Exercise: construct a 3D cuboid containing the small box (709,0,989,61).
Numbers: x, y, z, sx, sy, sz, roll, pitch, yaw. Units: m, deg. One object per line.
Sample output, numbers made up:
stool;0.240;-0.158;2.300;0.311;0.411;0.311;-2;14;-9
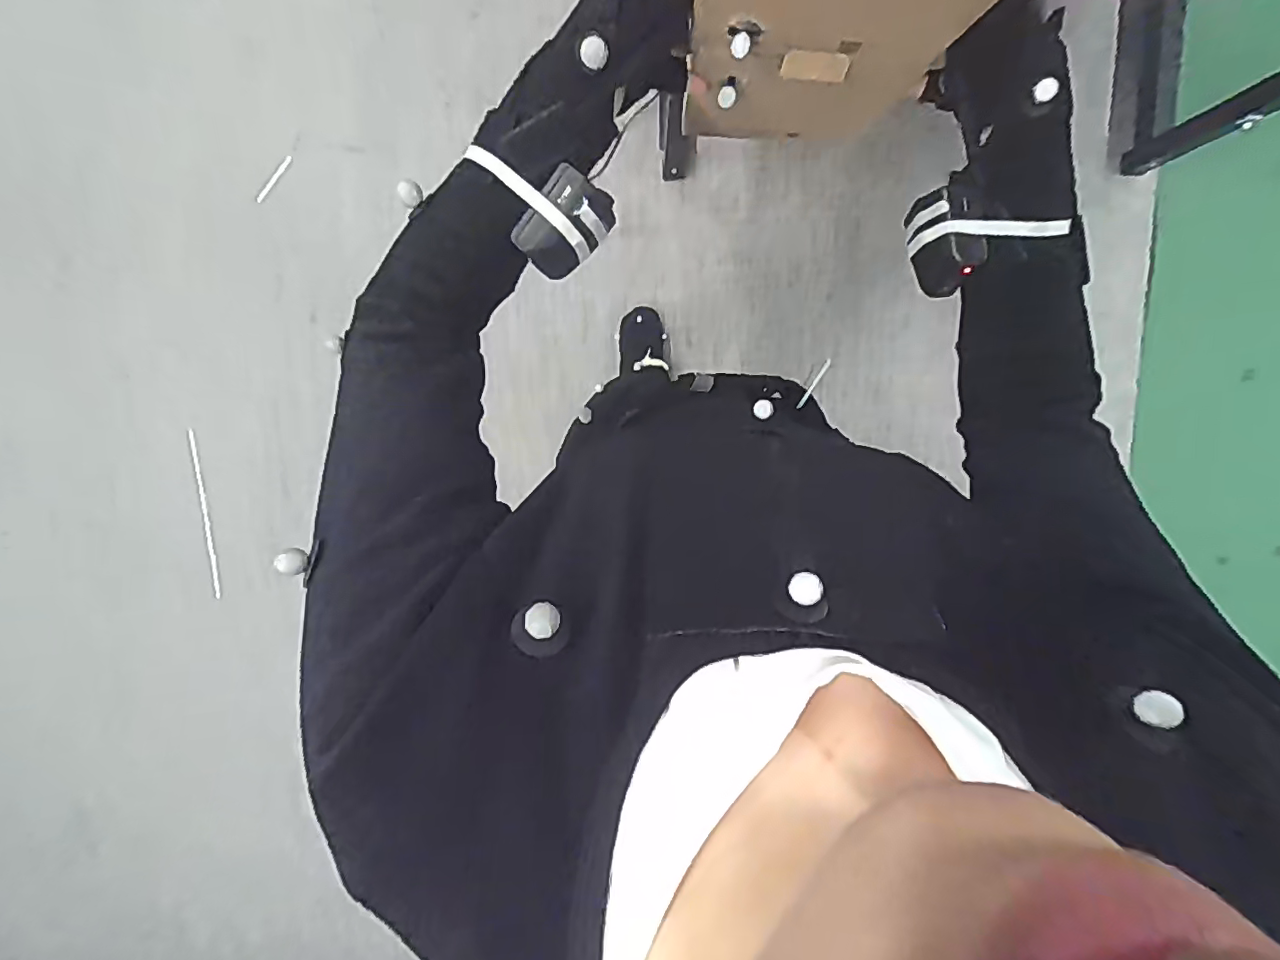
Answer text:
small box;0.126;-0.344;0.260;0.168;0.176;0.179;7;107;-3
